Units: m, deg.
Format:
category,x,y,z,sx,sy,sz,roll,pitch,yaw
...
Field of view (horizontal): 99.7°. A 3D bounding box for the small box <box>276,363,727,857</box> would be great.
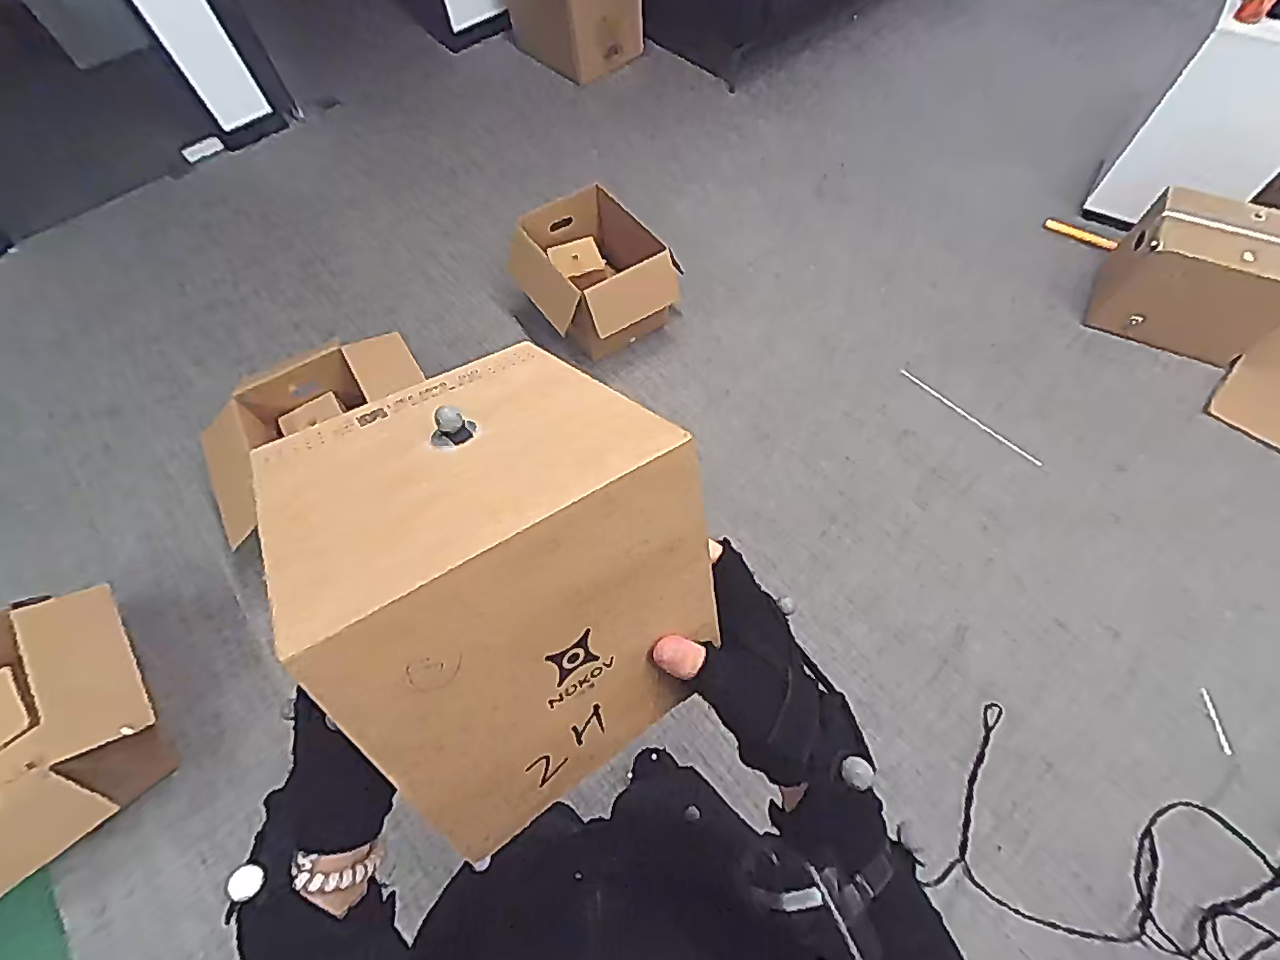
category,x,y,z,sx,sy,sz,roll,pitch,yaw
small box,-0.072,0.048,0.303,0.168,0.179,0.176,-29,40,-23
